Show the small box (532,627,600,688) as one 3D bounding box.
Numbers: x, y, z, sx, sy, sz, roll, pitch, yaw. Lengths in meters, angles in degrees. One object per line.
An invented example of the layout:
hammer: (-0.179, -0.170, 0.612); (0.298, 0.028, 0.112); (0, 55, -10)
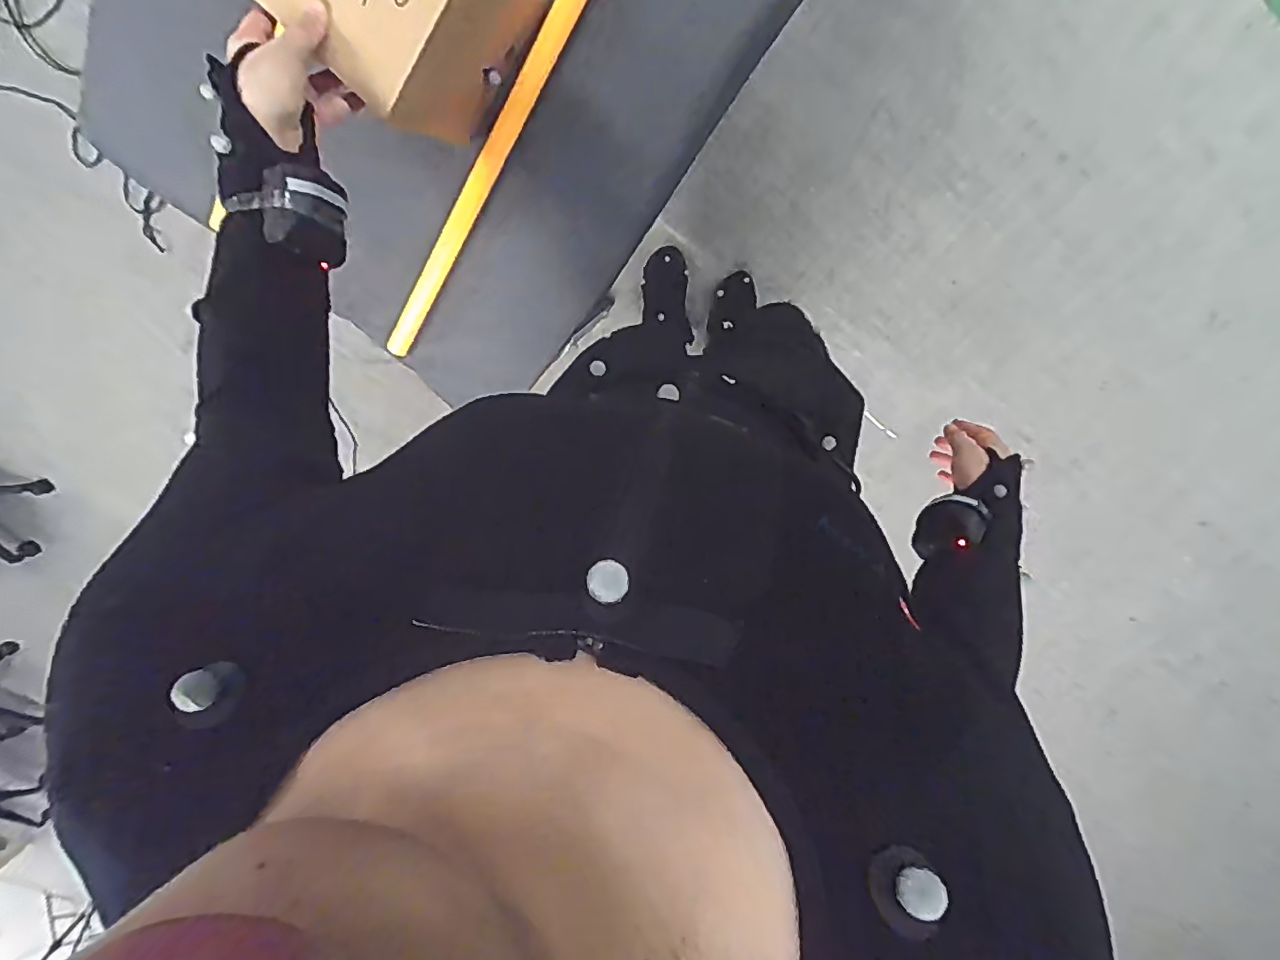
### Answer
small box: (-0.248, 0.632, 1.823); (0.168, 0.176, 0.179); (31, 116, -9)

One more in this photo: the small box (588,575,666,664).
small box: (-0.034, 0.433, 1.699); (0.179, 0.176, 0.168); (40, 114, -11)
